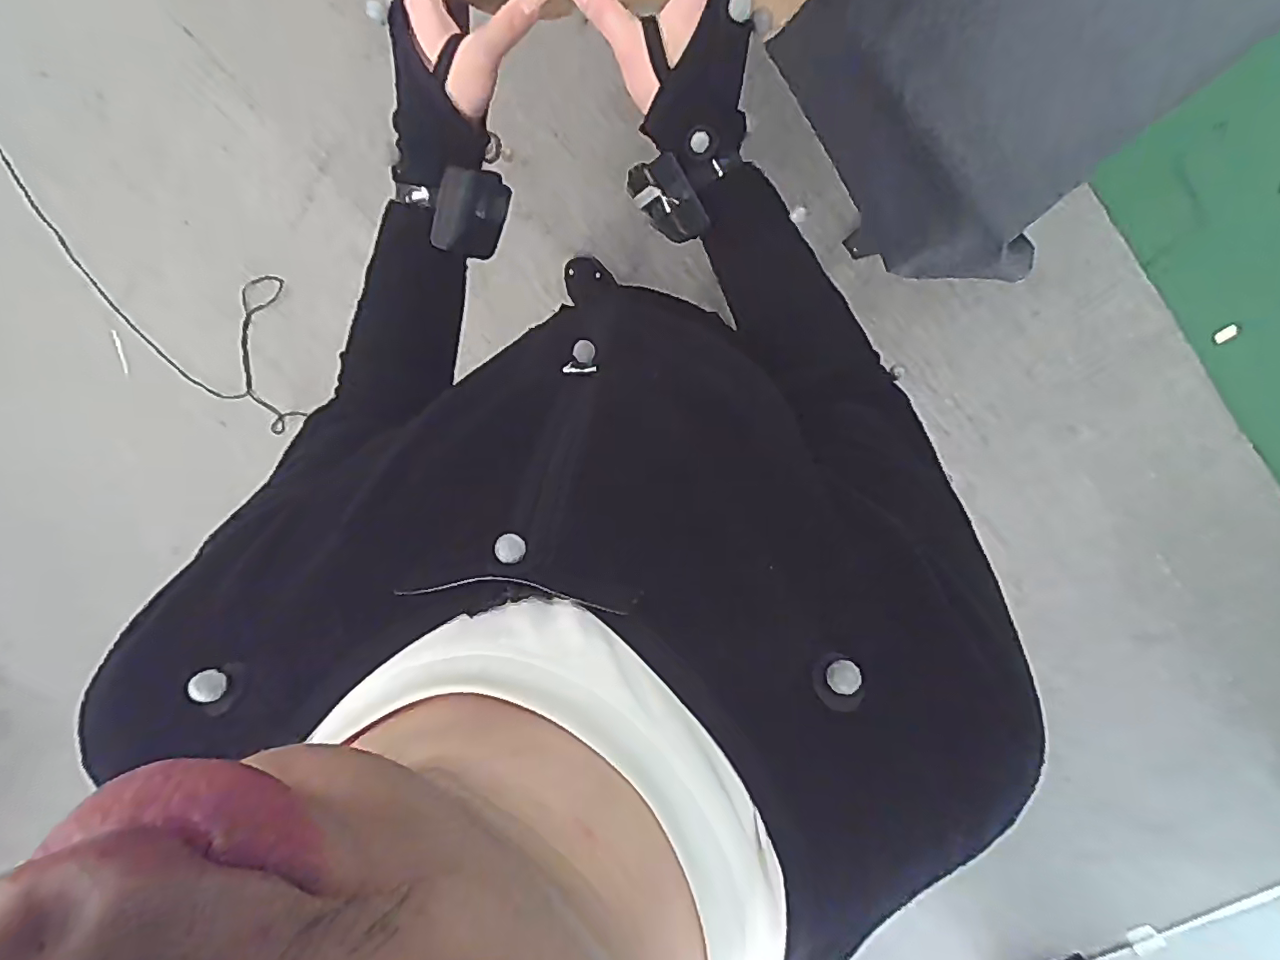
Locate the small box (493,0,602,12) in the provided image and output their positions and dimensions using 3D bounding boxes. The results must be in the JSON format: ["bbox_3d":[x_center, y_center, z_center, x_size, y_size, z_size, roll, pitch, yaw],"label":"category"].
[{"bbox_3d":[-0.051,-0.454,0.374,0.168,0.176,0.179,-2,123,11],"label":"small box"}]
